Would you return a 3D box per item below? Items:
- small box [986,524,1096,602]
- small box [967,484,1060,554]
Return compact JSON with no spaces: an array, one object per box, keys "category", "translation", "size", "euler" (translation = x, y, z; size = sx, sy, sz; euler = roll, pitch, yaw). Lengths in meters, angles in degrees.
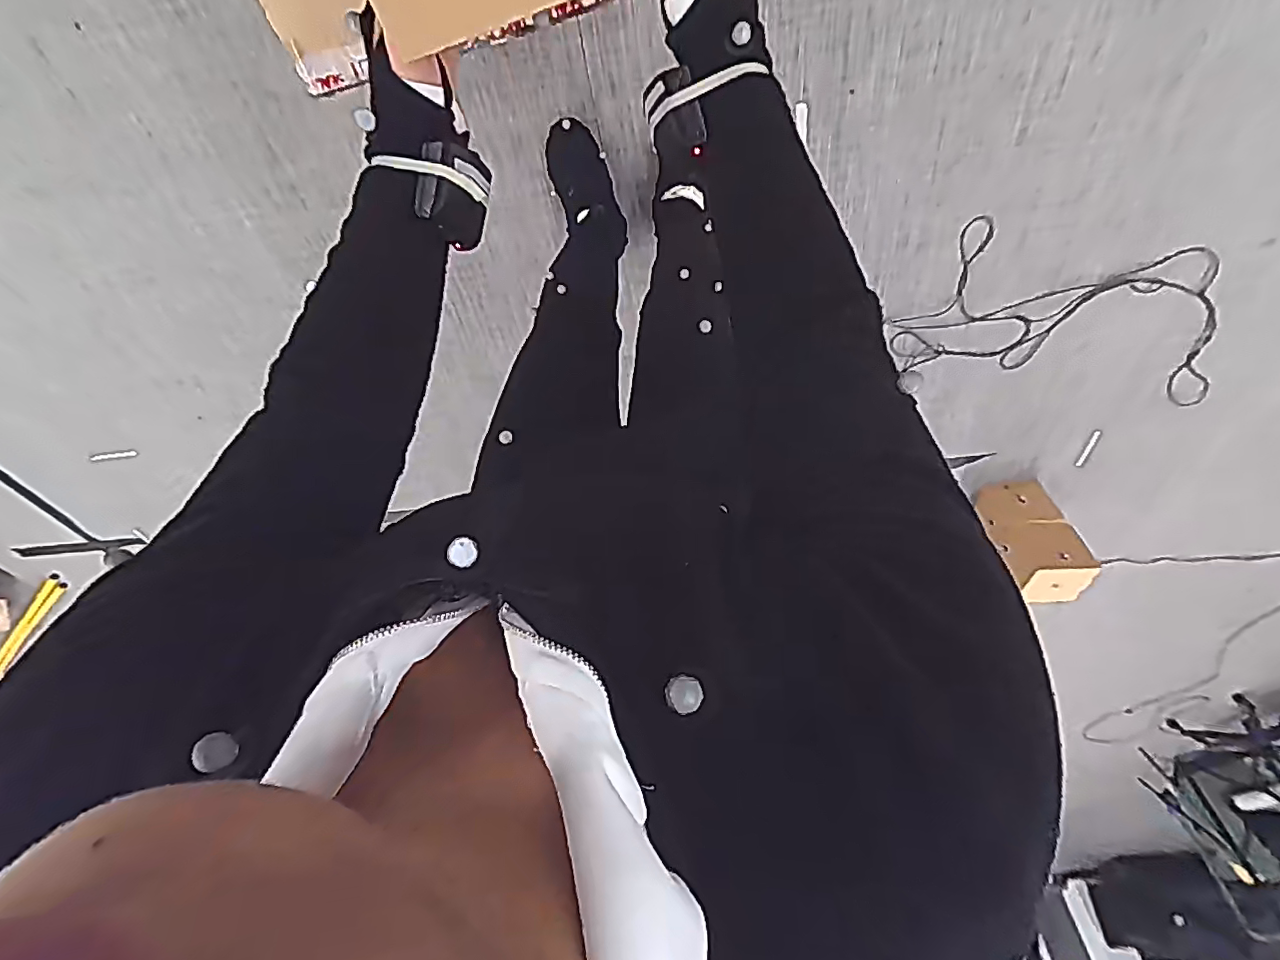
[{"category":"small box","translation":[1.184,0.245,1.612],"size":[0.179,0.176,0.168],"euler":[-2,134,3]},{"category":"small box","translation":[1.180,0.126,1.725],"size":[0.168,0.176,0.179],"euler":[-6,134,6]}]
